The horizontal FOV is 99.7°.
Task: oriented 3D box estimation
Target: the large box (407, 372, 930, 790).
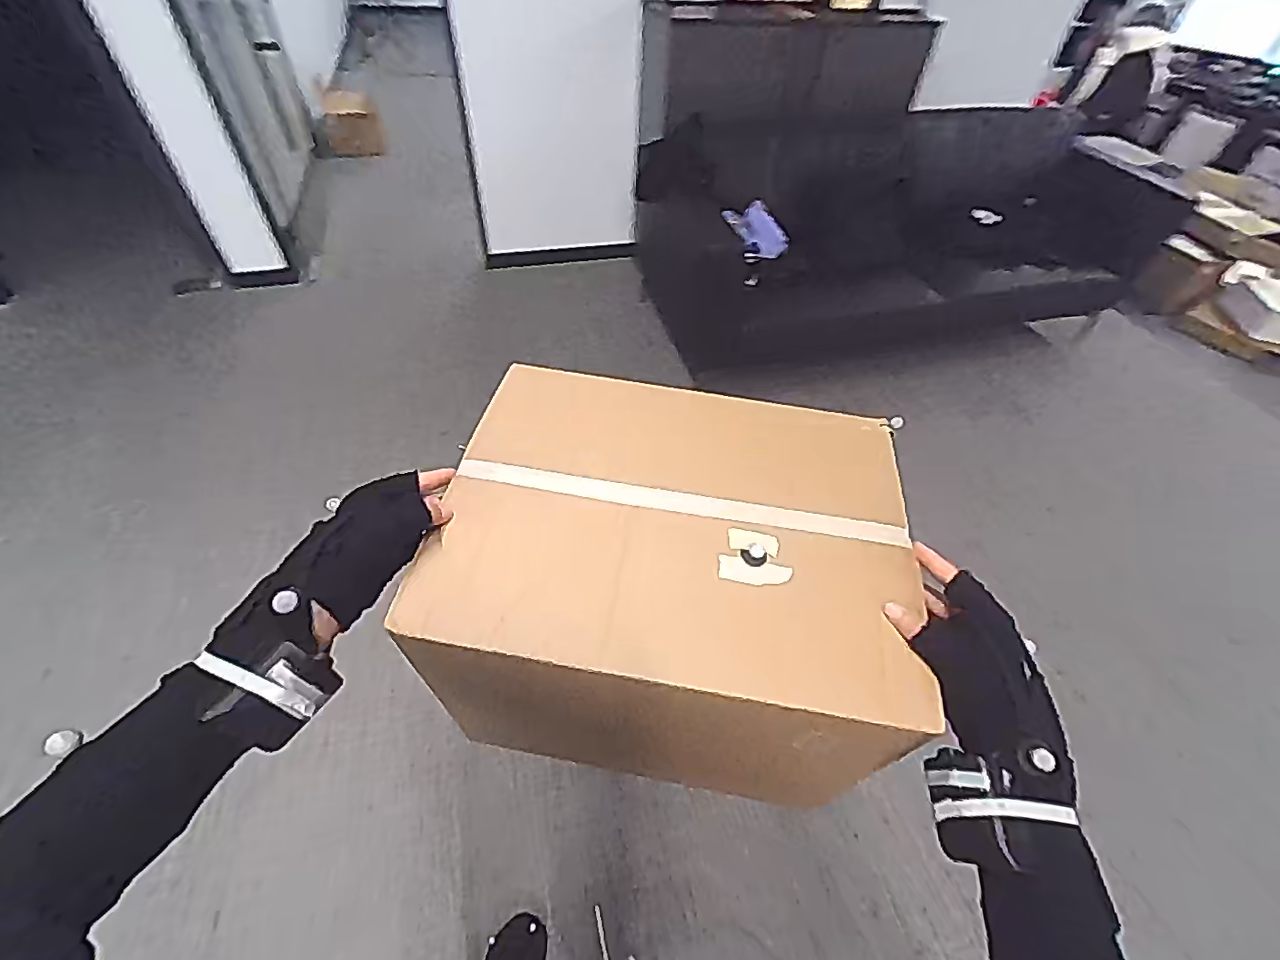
[{"bbox_3d":[0.026,0.119,0.608,0.408,0.320,0.320,10,51,2],"label":"large box"}]
